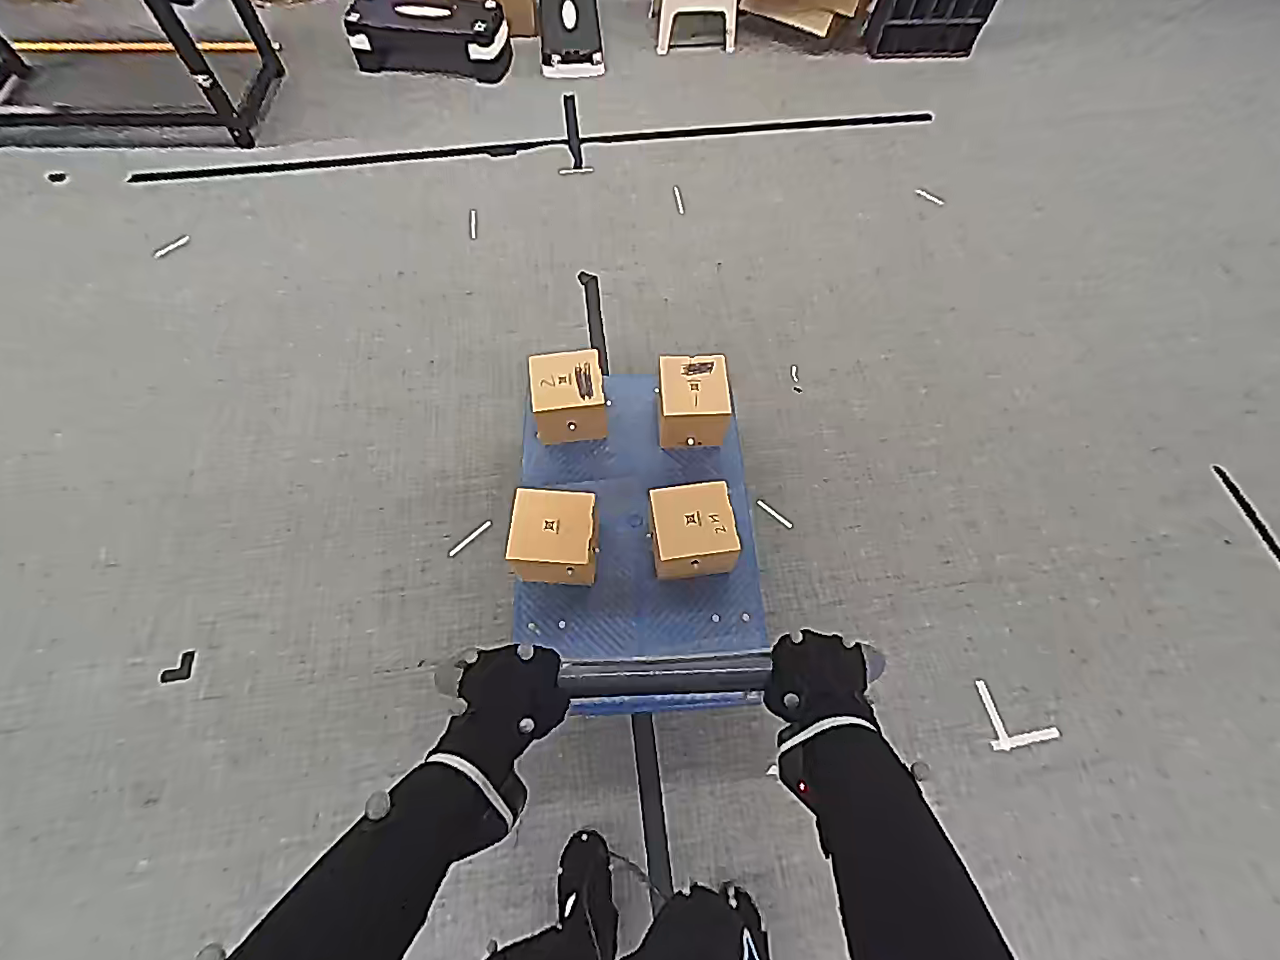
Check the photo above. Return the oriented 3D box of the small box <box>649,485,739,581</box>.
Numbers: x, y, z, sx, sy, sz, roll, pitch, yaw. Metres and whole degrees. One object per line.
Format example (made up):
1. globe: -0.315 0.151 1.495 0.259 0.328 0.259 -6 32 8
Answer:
1. small box: 0.116 0.128 1.247 0.179 0.176 0.168 -6 65 -4

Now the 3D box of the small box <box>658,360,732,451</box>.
1. small box: 0.135 -0.189 1.398 0.168 0.176 0.179 -2 66 -2

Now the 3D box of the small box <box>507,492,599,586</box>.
1. small box: -0.190 0.140 1.236 0.179 0.176 0.168 4 64 -1
